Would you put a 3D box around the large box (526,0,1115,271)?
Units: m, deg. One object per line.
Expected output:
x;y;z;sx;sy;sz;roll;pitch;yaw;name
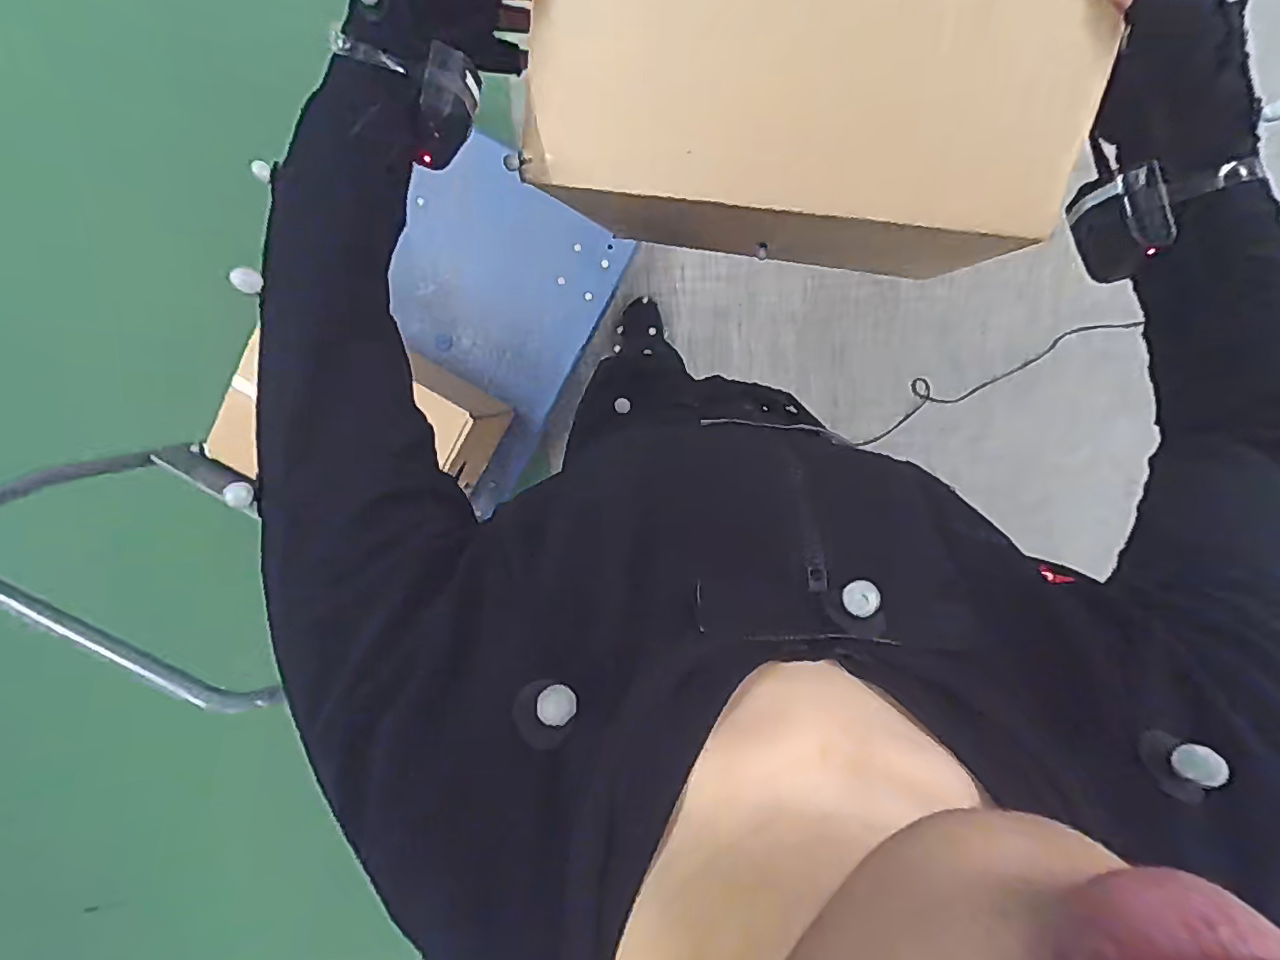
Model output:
0.148;-0.393;0.514;0.408;0.320;0.320;11;106;10;large box
